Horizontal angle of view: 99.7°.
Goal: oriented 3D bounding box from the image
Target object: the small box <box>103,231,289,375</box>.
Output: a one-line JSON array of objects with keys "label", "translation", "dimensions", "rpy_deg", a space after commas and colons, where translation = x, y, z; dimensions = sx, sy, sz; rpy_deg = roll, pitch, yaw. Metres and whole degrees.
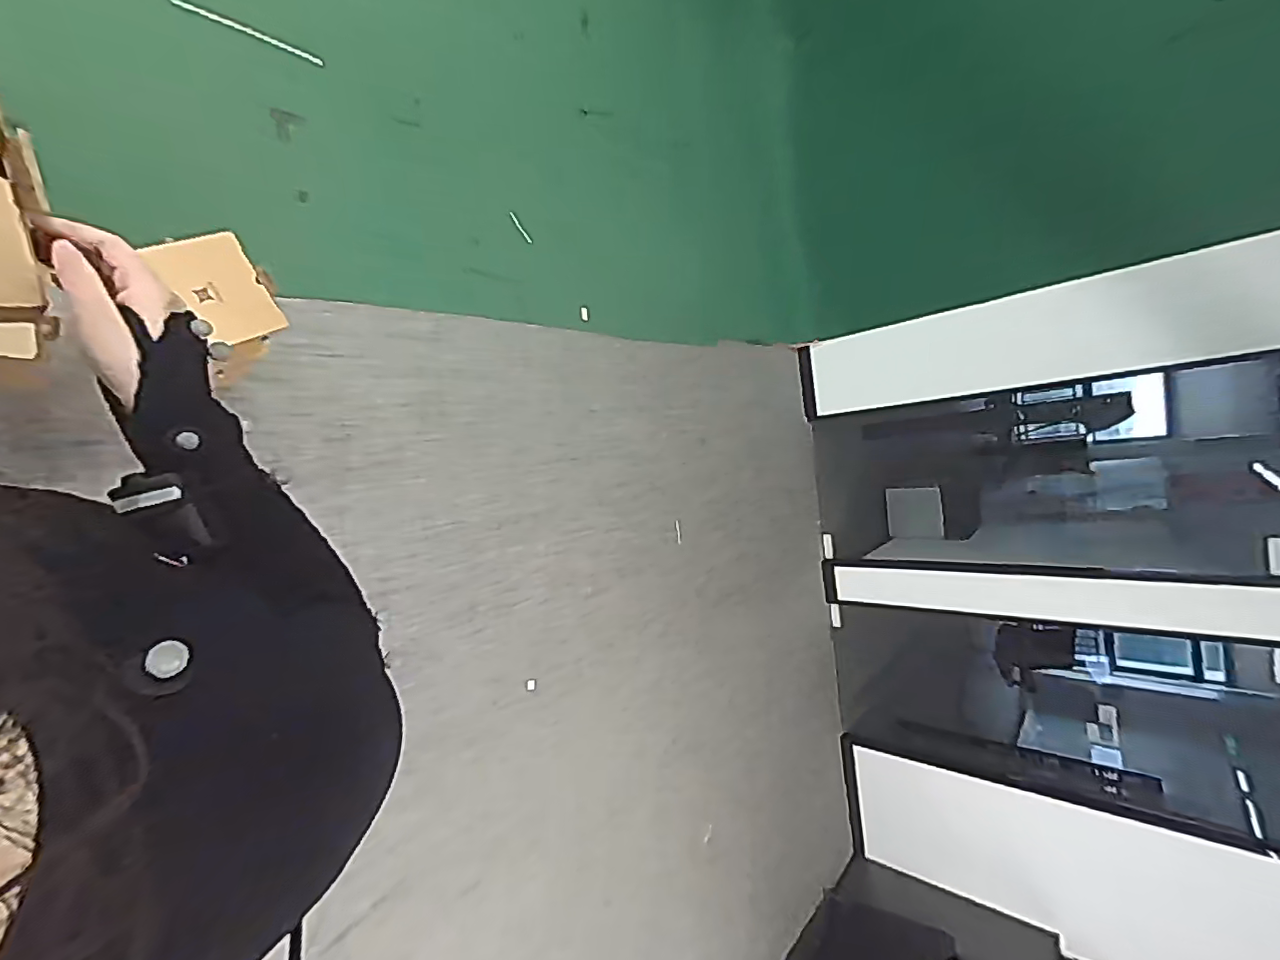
[{"label": "small box", "translation": [-0.742, -0.289, 0.905], "dimensions": [0.179, 0.176, 0.168], "rpy_deg": [-43, 119, -41]}]

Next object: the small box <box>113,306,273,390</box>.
[{"label": "small box", "translation": [-0.851, -0.280, 1.027], "dimensions": [0.179, 0.176, 0.168], "rpy_deg": [-37, 116, -43]}]

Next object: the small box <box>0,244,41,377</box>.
[{"label": "small box", "translation": [-1.037, -0.261, 0.821], "dimensions": [0.168, 0.176, 0.179], "rpy_deg": [0, 87, -47]}]

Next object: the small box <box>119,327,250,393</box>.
[{"label": "small box", "translation": [-0.966, -0.285, 1.142], "dimensions": [0.179, 0.176, 0.168], "rpy_deg": [-20, 103, -47]}]
